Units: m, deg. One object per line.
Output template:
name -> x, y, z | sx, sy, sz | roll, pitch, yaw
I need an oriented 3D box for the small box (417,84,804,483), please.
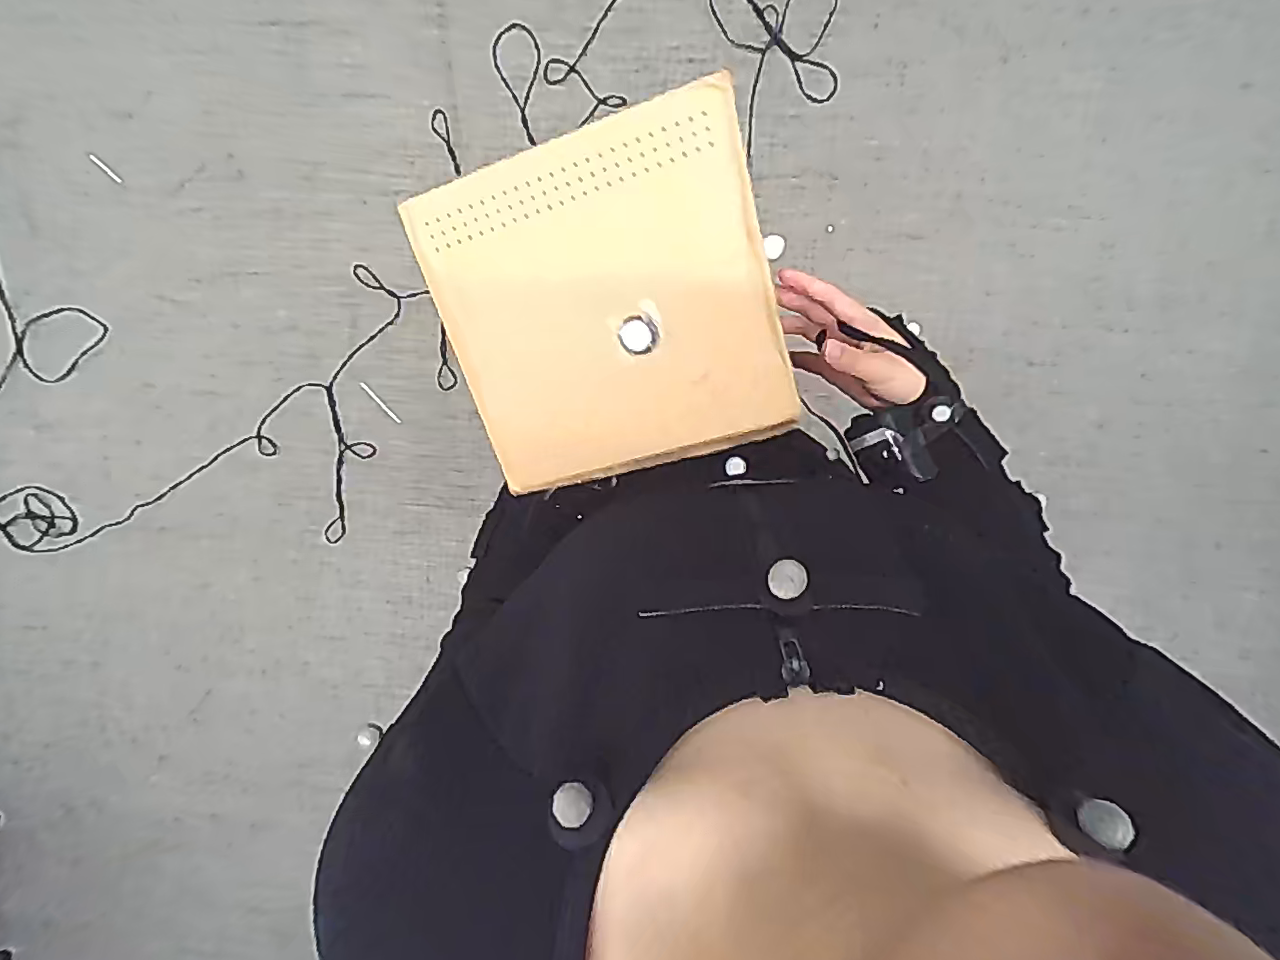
small box -> -0.007, -0.122, 0.359 | 0.179, 0.168, 0.176 | -14, 109, 13
